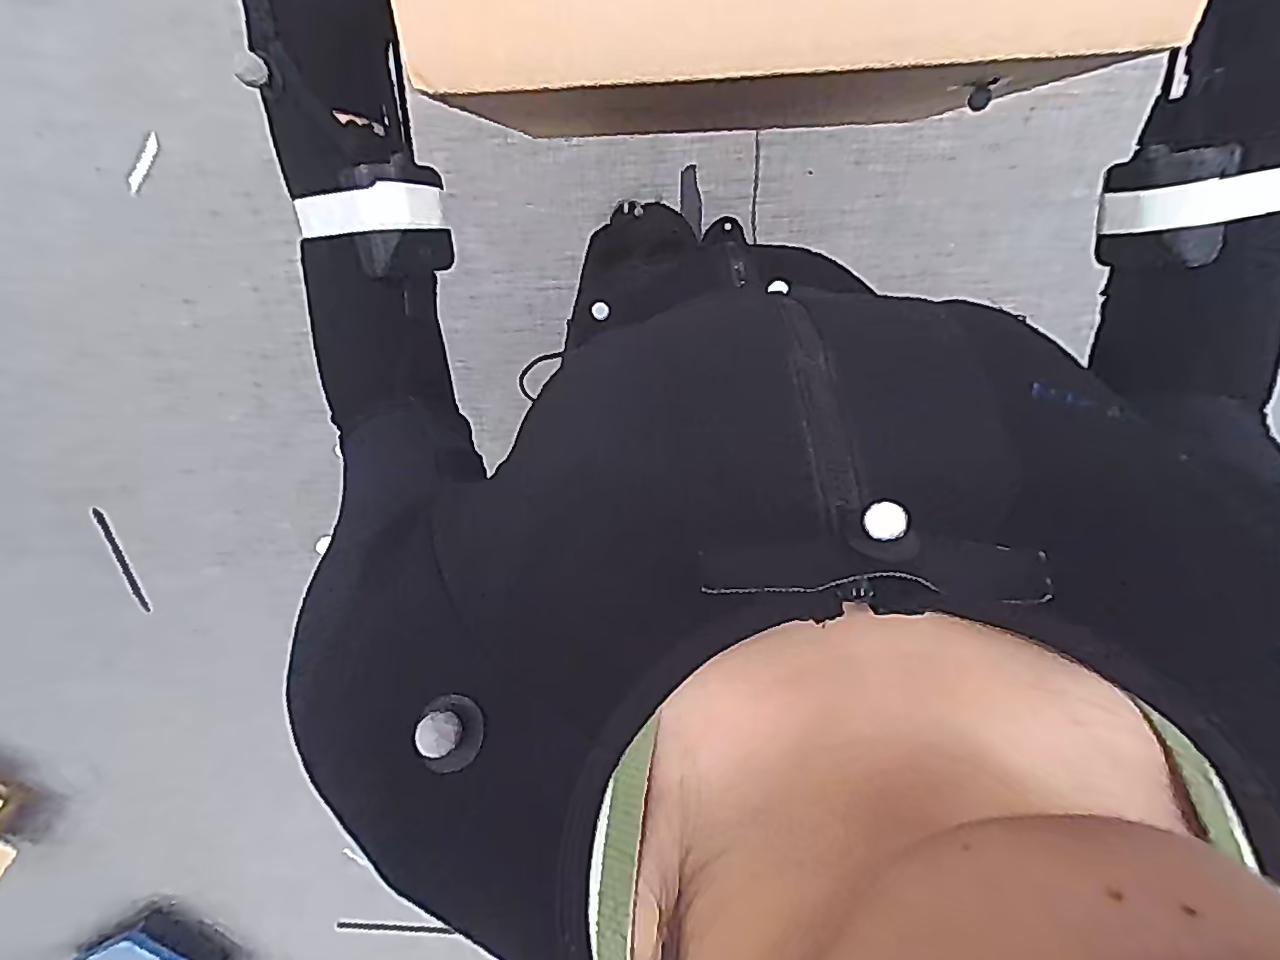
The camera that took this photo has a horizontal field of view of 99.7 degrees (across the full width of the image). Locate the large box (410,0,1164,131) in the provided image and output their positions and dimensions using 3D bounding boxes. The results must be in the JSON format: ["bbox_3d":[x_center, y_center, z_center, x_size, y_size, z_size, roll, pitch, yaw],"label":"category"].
[{"bbox_3d":[0.074,-0.433,0.356,0.408,0.320,0.320,-1,118,3],"label":"large box"}]
